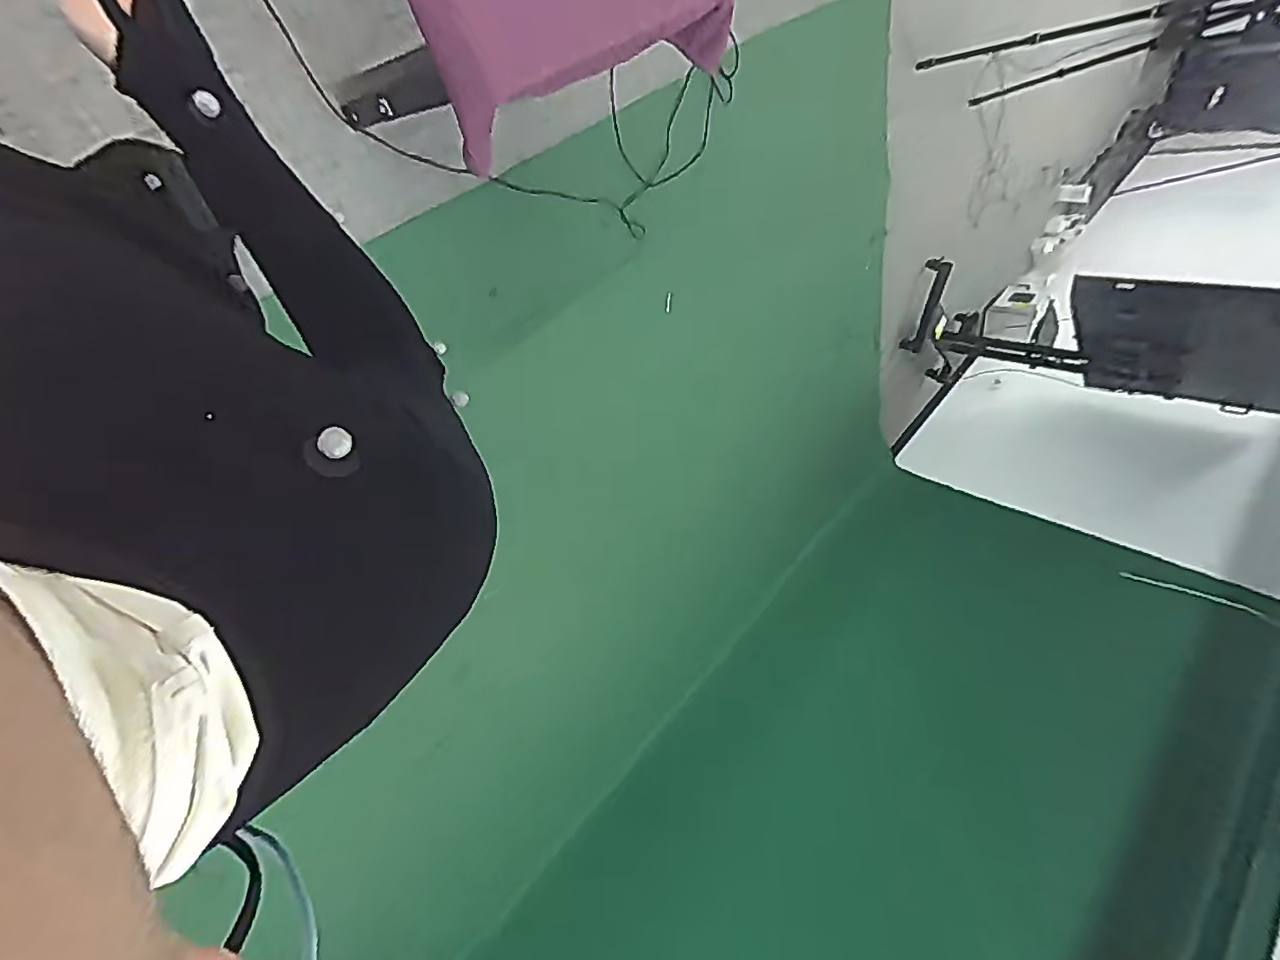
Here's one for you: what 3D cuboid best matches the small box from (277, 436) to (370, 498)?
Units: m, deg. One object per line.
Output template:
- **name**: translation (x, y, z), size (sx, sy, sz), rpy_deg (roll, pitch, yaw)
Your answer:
- **small box**: translation (-0.864, 0.006, 1.490), size (0.179, 0.176, 0.168), rpy_deg (-42, 135, -22)
